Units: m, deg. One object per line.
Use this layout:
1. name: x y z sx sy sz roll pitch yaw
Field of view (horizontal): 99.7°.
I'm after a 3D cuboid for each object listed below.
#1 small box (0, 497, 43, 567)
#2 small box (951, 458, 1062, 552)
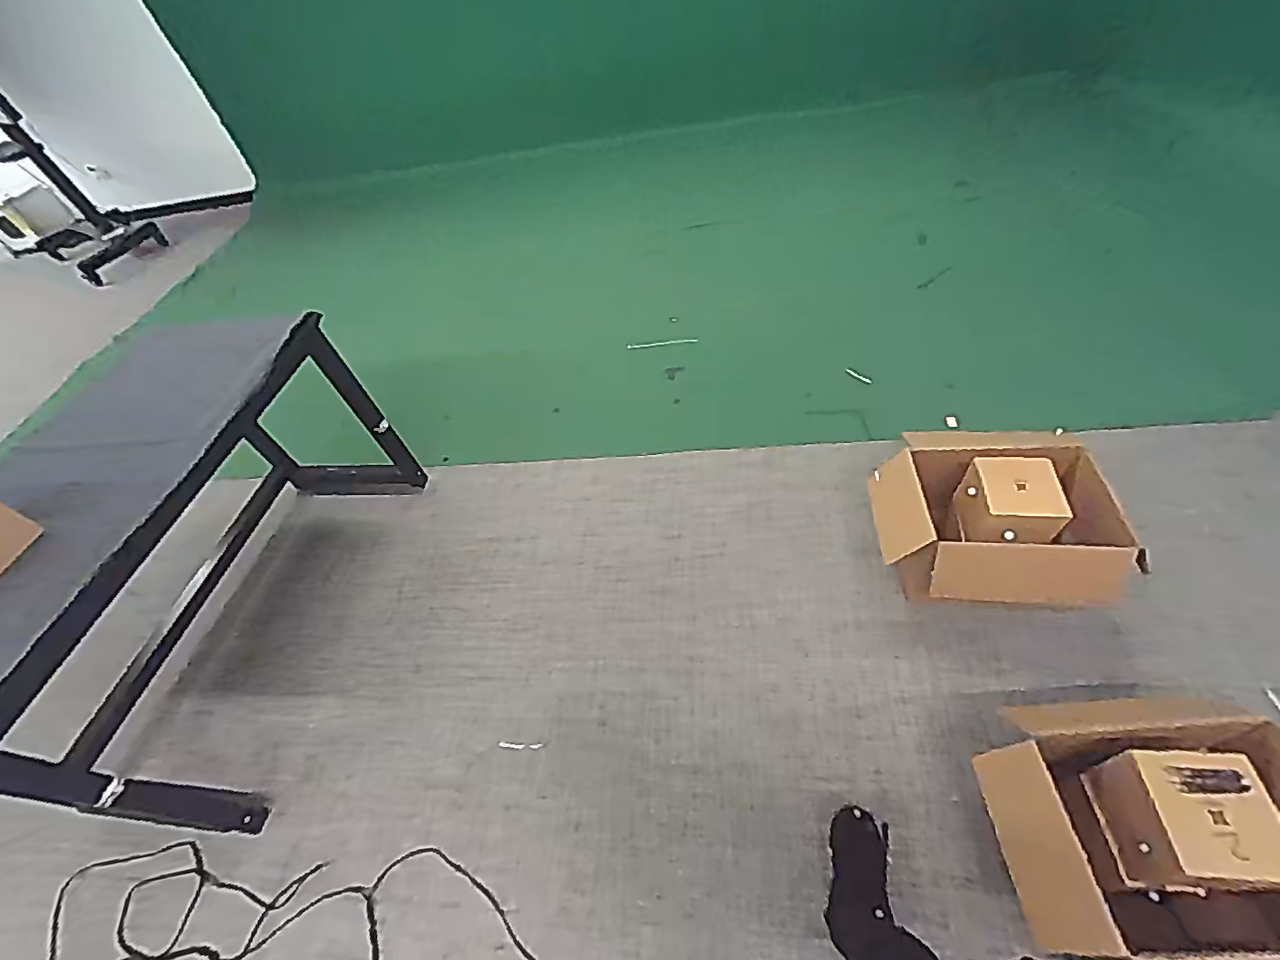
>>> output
1. small box: -1.341 0.102 1.036 0.168 0.176 0.179 2 50 13
2. small box: 0.900 0.064 1.345 0.168 0.176 0.179 2 52 12
